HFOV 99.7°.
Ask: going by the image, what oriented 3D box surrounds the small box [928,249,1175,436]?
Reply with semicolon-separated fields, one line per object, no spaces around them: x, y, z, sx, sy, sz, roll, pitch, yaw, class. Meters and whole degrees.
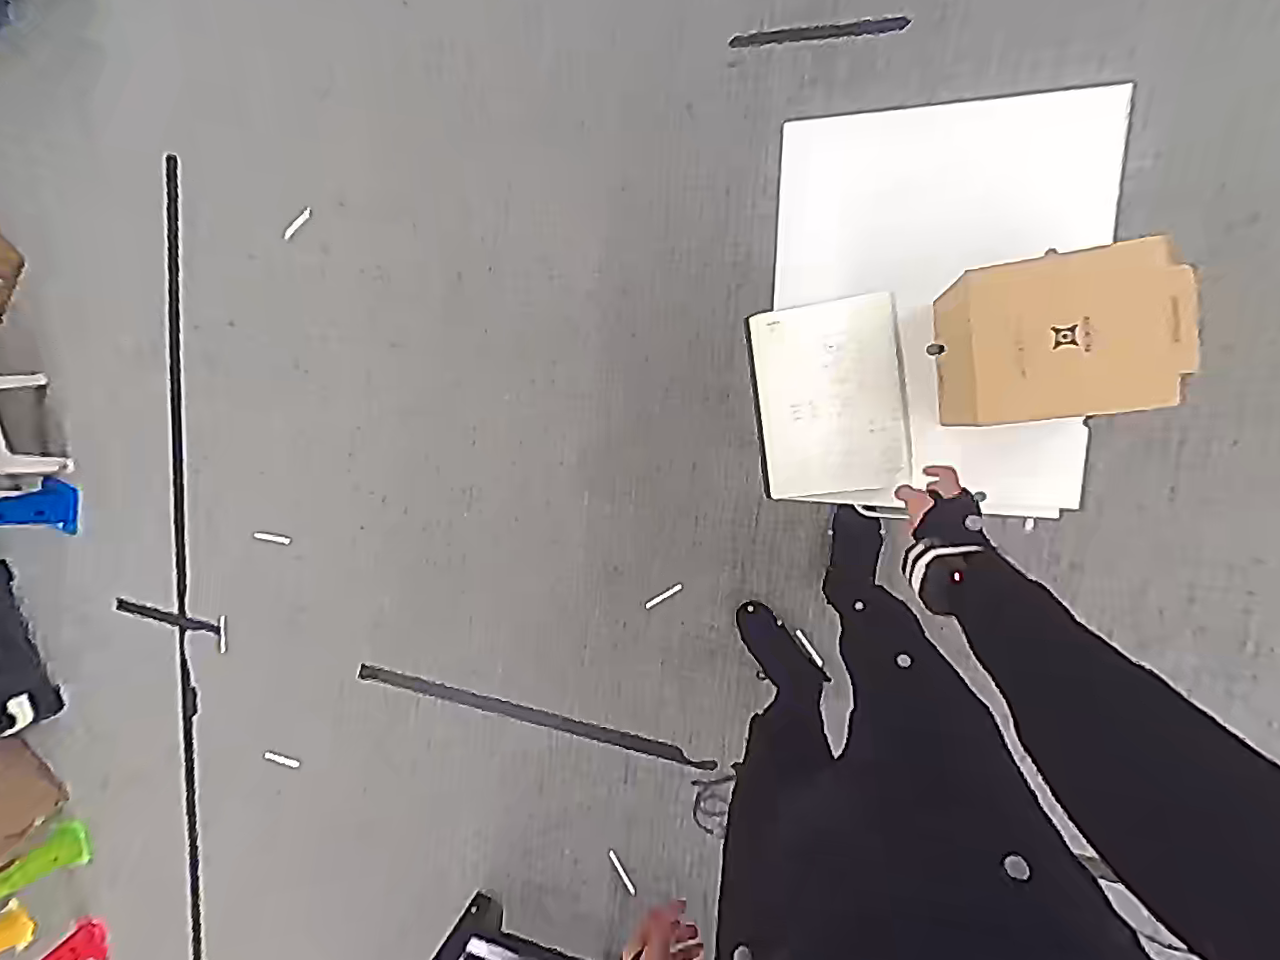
0.450;-0.142;0.619;0.179;0.176;0.168;-6;94;17;small box
